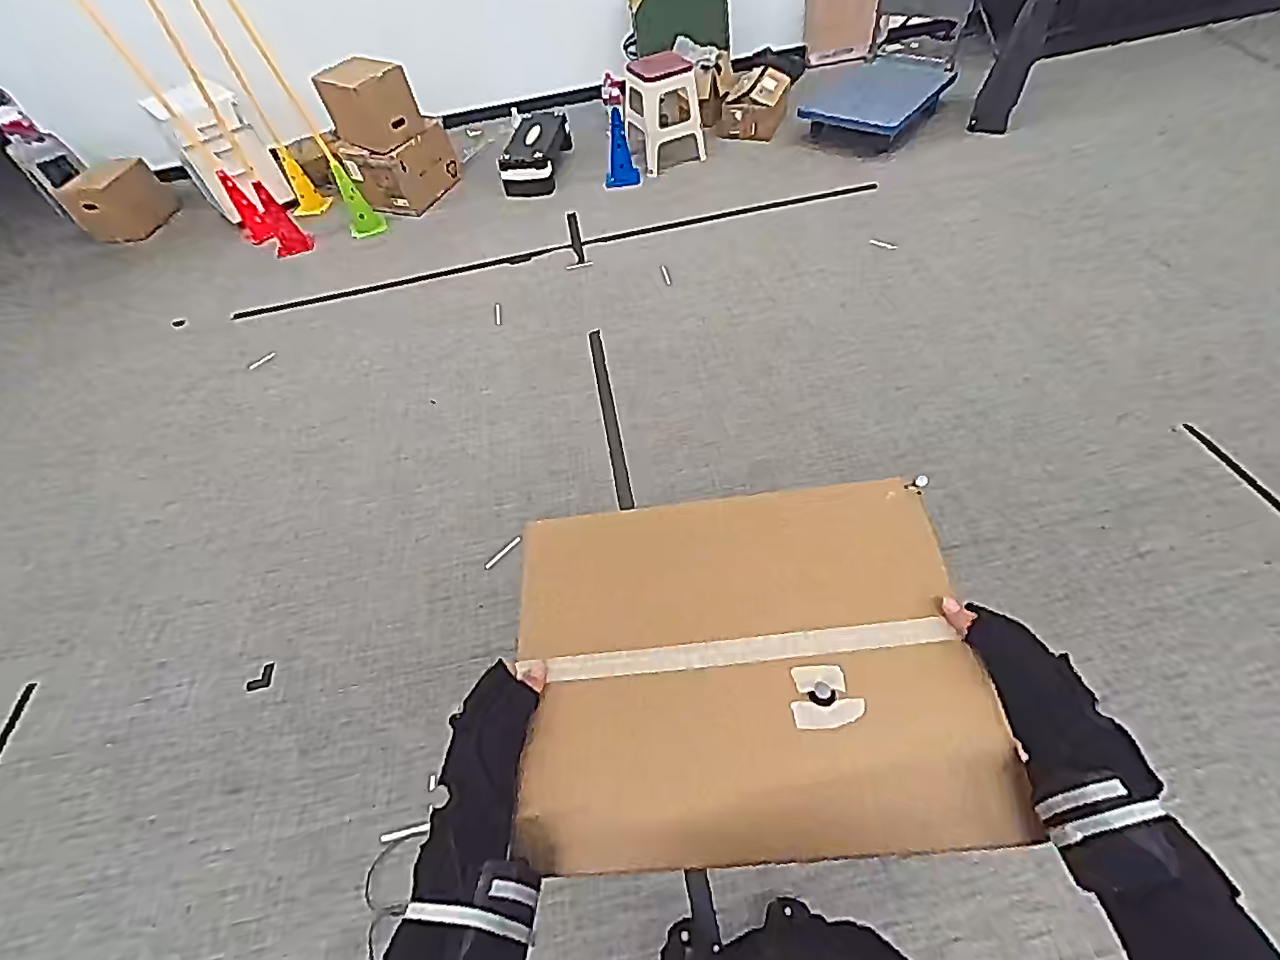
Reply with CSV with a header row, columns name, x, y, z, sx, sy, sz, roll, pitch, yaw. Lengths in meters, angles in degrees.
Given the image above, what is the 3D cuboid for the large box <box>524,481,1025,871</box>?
name,x,y,z,sx,sy,sz,roll,pitch,yaw
large box,0.106,0.235,0.627,0.408,0.320,0.320,-7,59,4
